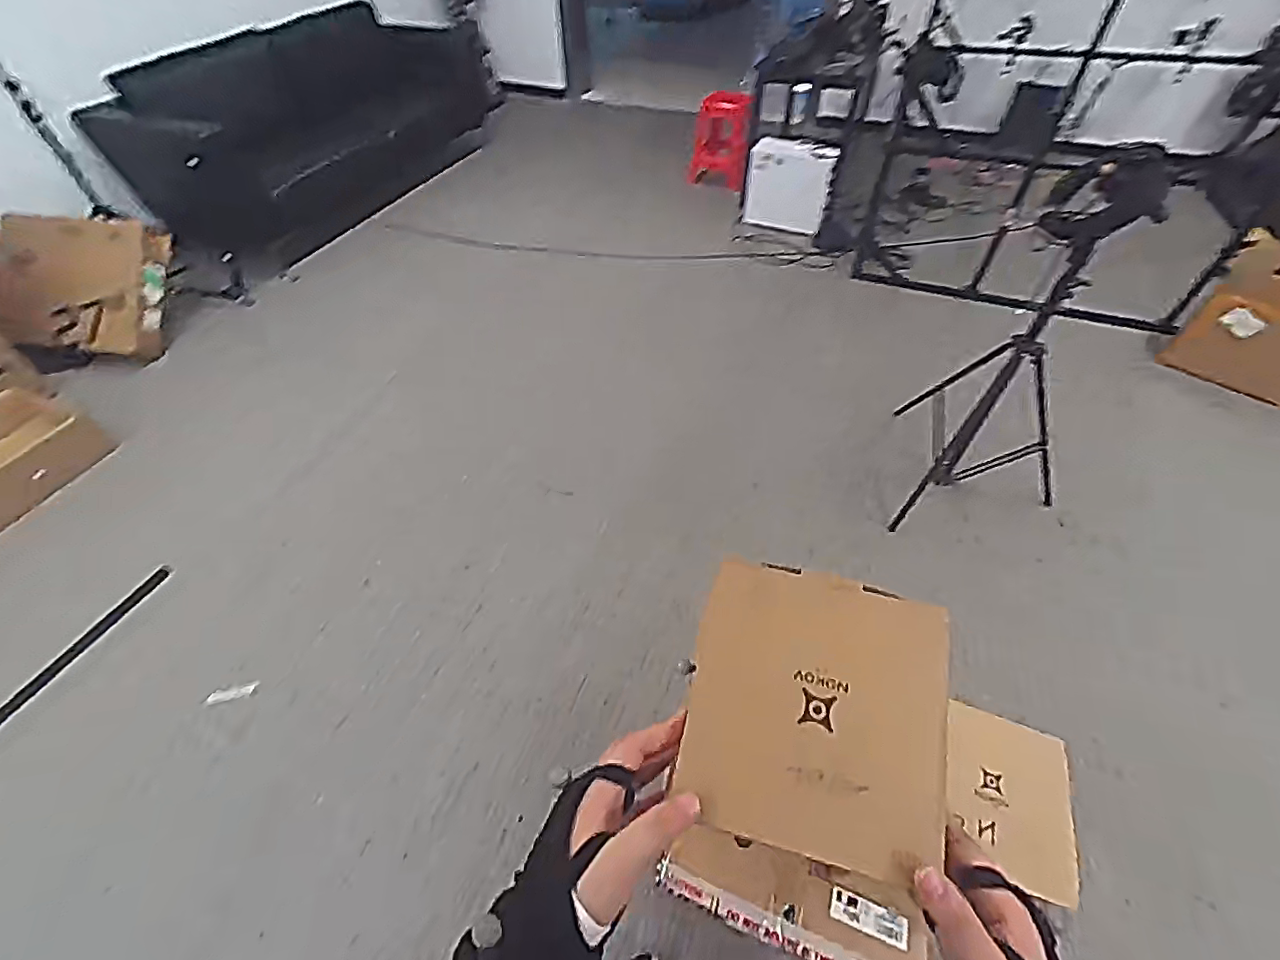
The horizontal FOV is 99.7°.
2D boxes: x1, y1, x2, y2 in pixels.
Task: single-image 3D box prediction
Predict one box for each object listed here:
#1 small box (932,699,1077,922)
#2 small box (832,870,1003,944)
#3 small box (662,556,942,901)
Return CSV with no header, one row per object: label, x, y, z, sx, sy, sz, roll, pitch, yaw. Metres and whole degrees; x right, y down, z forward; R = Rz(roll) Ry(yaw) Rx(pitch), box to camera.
small box,0.380,0.395,0.656,0.168,0.176,0.179,18,53,13
small box,0.389,0.513,0.772,0.168,0.176,0.179,20,54,15
small box,0.114,0.185,0.430,0.168,0.176,0.179,13,65,7
